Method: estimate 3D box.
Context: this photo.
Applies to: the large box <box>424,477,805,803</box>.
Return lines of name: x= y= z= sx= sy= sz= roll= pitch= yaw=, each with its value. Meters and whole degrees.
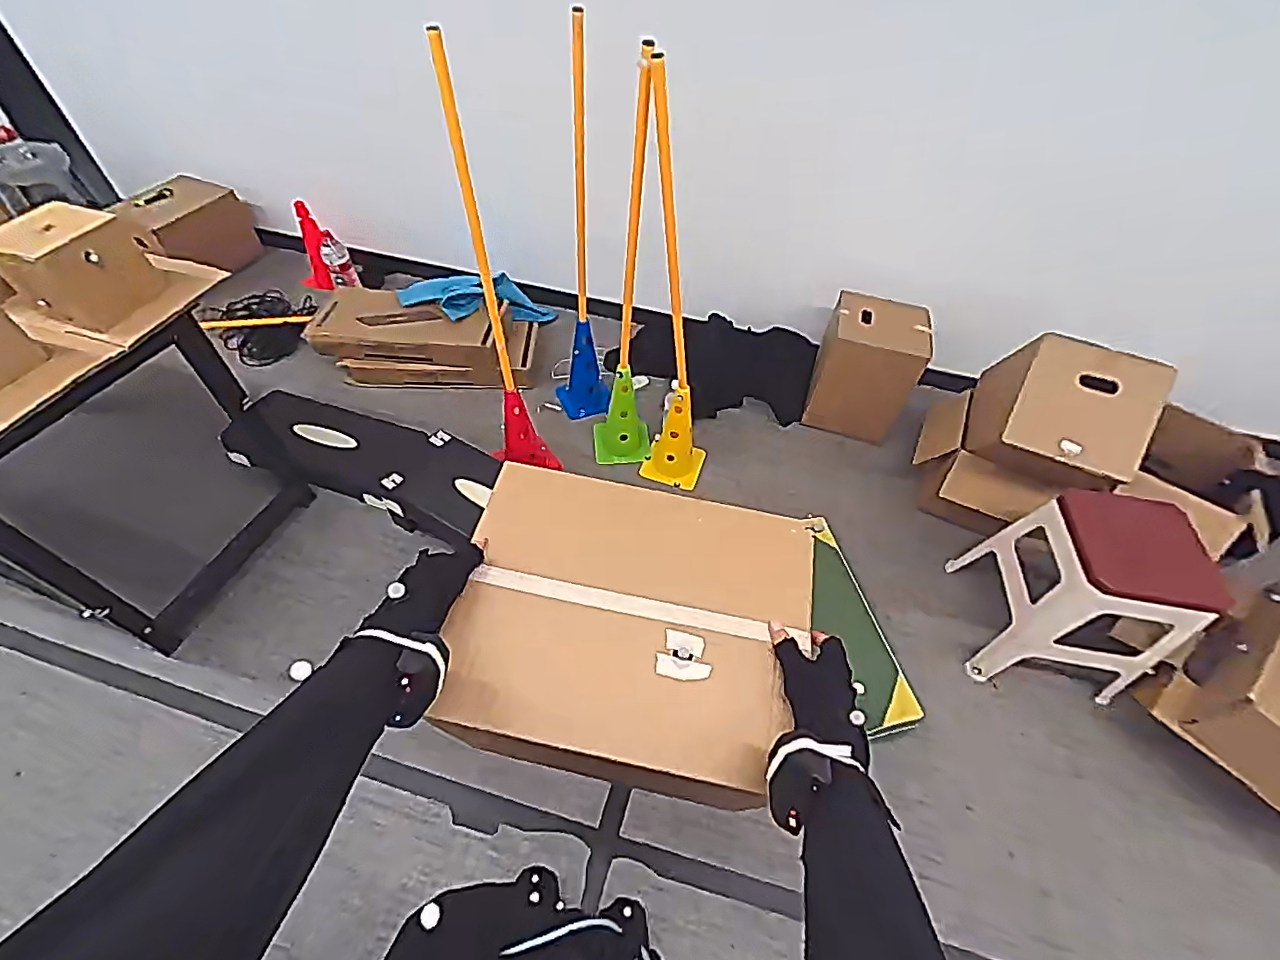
large box: x=-0.018 y=0.235 z=0.759 sx=0.408 sy=0.320 sz=0.320 roll=12 pitch=58 yaw=3
